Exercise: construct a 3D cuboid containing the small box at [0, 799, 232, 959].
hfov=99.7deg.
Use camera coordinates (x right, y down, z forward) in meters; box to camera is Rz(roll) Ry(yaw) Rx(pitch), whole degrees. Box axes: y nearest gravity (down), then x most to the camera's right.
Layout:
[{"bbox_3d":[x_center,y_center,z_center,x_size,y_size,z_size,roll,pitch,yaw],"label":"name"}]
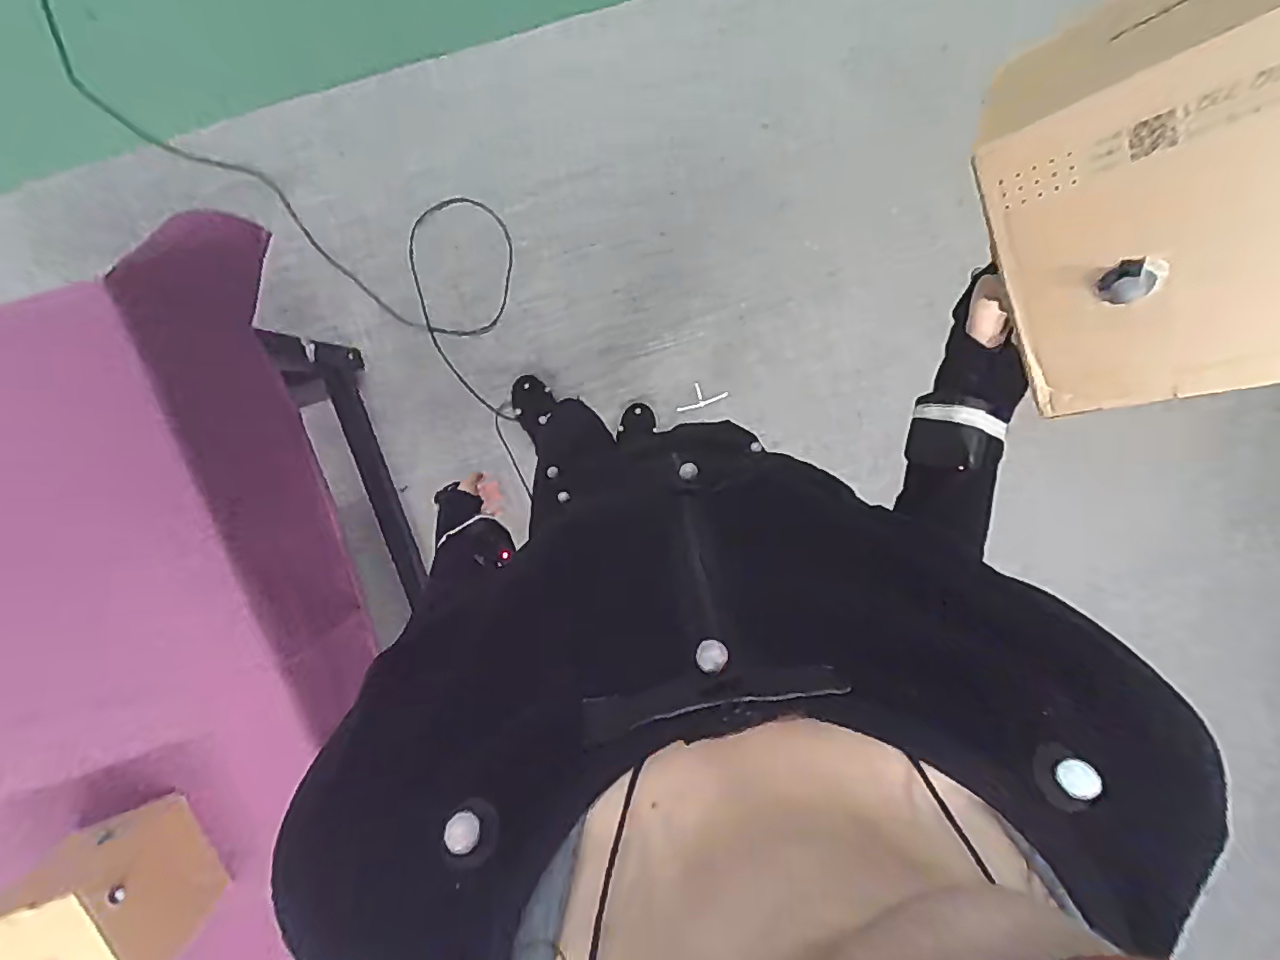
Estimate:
[{"bbox_3d":[-0.710,0.581,0.728,0.168,0.176,0.179,-21,98,0],"label":"small box"}]
